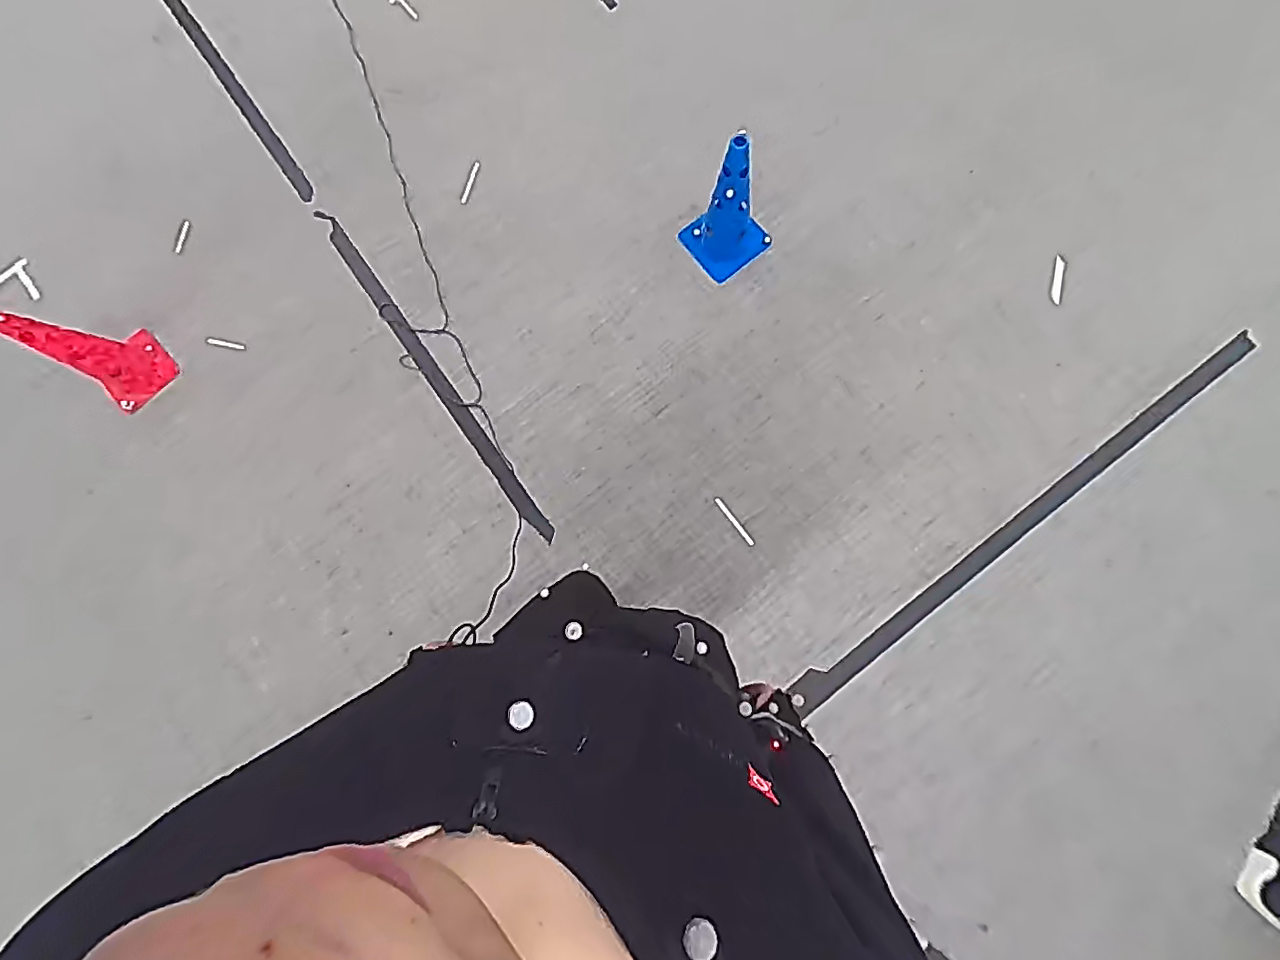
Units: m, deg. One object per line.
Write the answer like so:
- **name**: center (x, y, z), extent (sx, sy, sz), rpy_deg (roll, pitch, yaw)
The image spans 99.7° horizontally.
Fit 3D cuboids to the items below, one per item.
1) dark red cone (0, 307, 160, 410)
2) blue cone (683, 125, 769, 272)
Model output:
- **dark red cone**: center (-1.494, -0.350, 1.379), extent (0.201, 0.394, 0.202), rpy_deg (-45, 80, -5)
- **blue cone**: center (0.228, -0.717, 1.352), extent (0.192, 0.380, 0.193), rpy_deg (-36, 80, -4)
